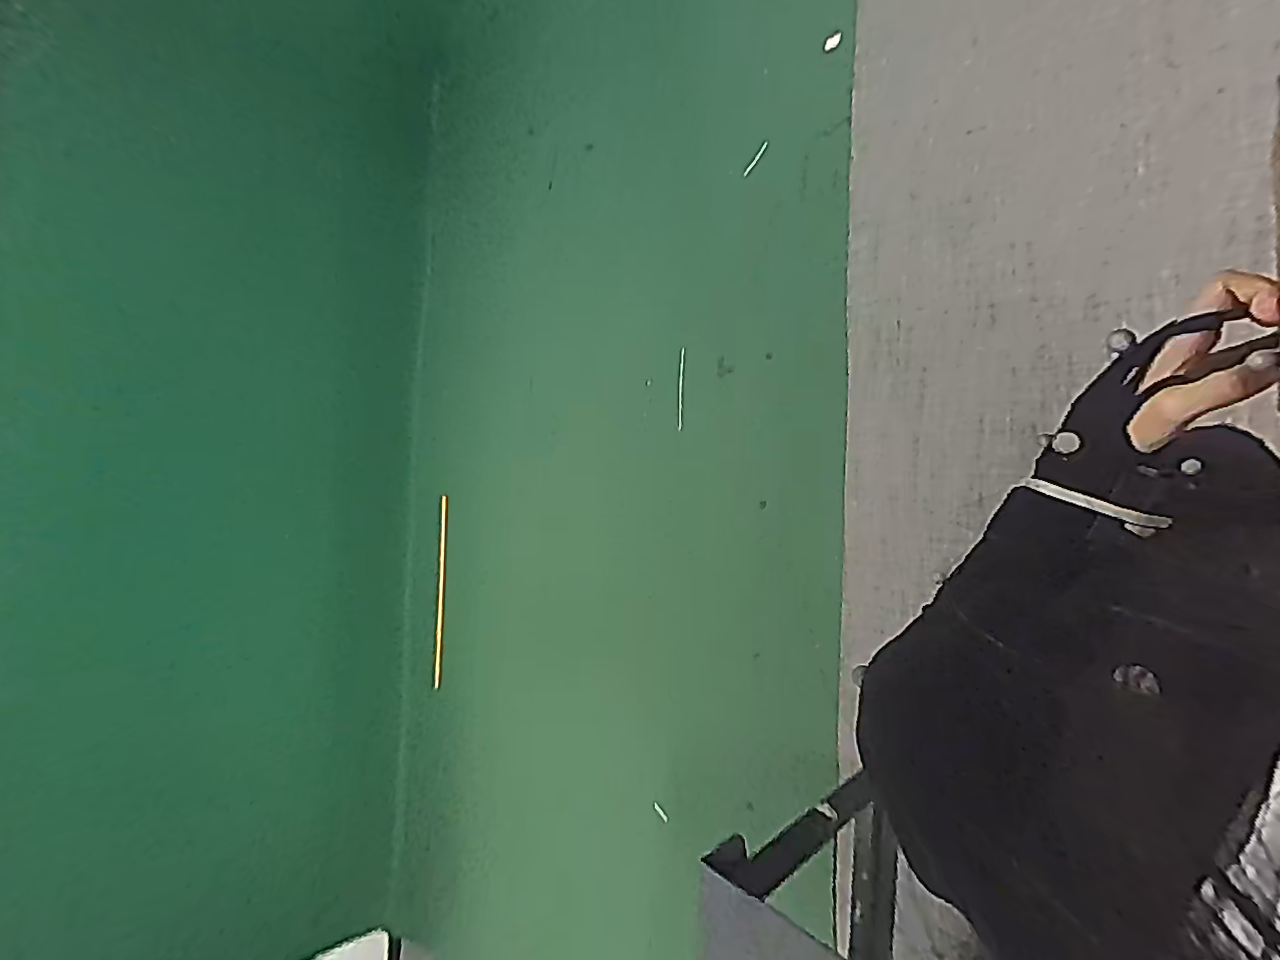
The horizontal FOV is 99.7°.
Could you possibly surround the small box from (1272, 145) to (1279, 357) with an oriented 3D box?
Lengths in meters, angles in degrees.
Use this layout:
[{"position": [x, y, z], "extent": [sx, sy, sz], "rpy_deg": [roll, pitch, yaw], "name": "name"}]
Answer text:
[{"position": [0.434, -0.125, 0.258], "extent": [0.168, 0.176, 0.179], "rpy_deg": [-3, 99, 49], "name": "small box"}]
